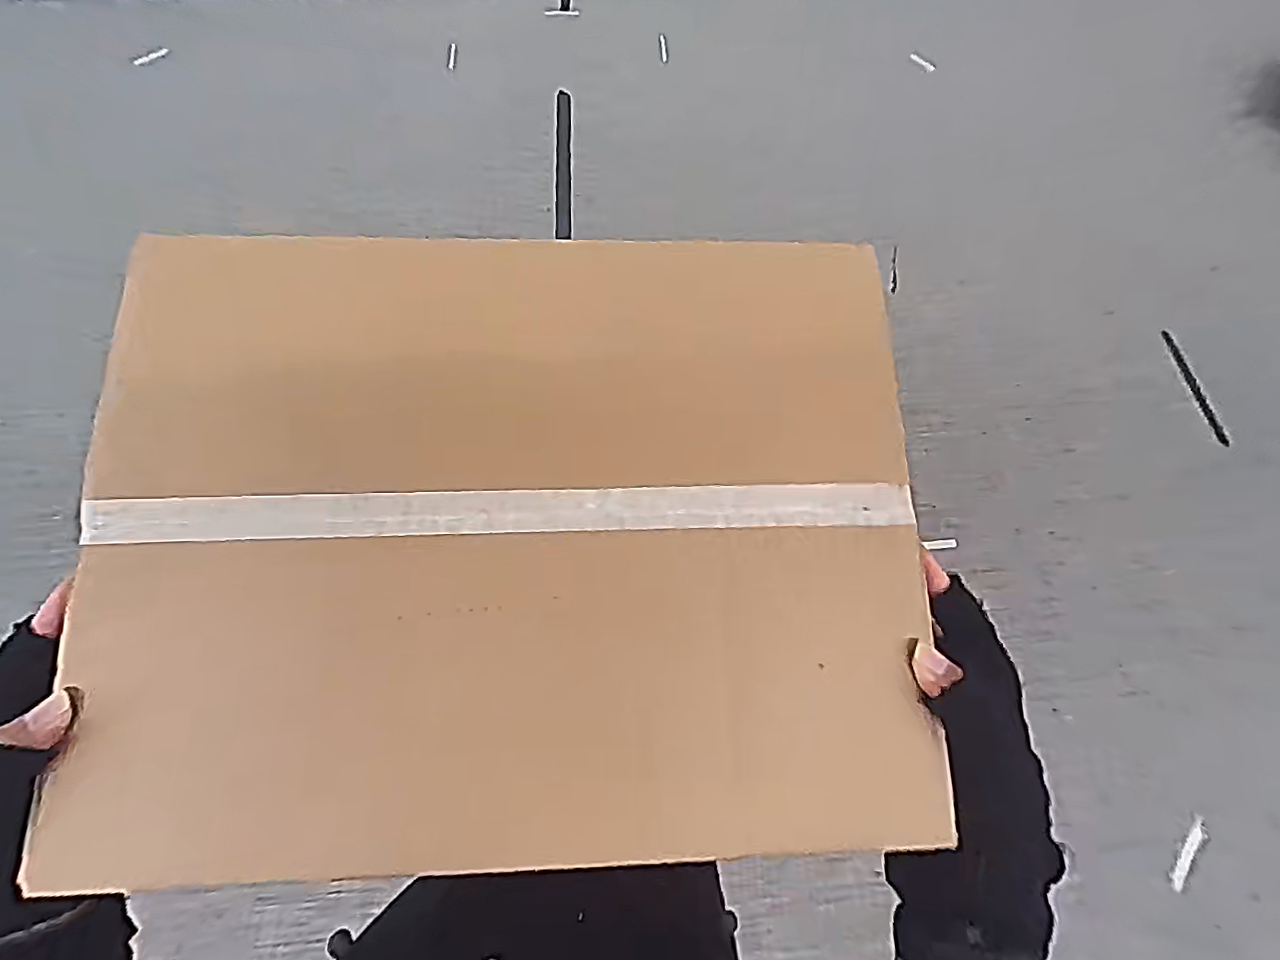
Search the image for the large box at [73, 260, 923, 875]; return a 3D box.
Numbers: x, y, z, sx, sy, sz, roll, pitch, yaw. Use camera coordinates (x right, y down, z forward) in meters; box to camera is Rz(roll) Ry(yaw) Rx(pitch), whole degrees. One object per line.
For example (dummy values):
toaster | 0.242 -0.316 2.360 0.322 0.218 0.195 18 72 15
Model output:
large box | -0.072 0.054 0.430 0.408 0.320 0.320 -1 78 -3
